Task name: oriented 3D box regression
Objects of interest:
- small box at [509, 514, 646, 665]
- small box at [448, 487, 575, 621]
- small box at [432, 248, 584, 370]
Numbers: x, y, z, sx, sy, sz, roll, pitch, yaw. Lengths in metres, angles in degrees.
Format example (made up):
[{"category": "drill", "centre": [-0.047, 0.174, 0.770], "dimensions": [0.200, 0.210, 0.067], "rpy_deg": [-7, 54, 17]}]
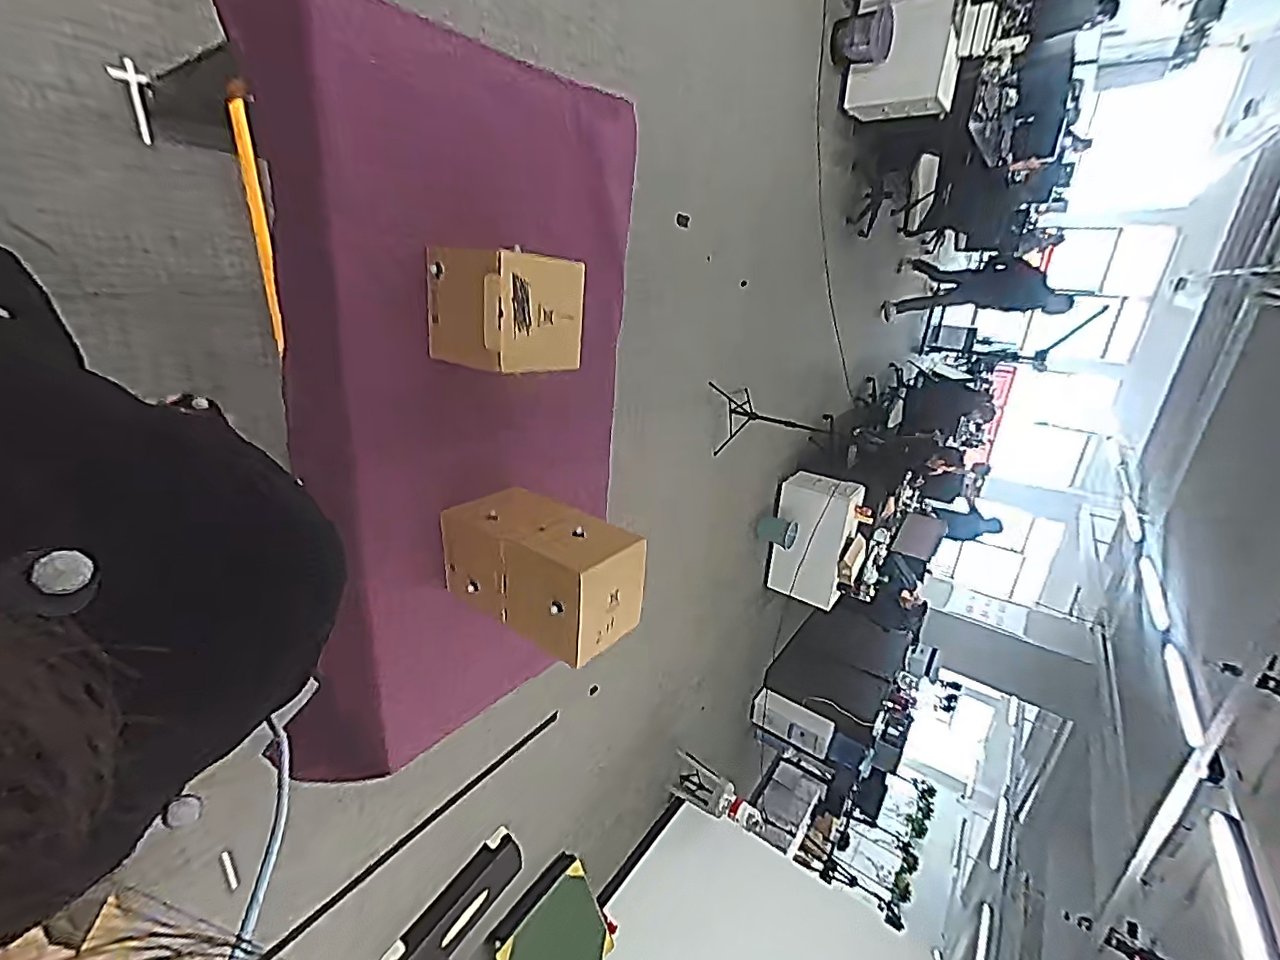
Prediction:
[{"category": "small box", "centre": [-0.108, 0.170, 0.918], "dimensions": [0.168, 0.176, 0.179], "rpy_deg": [-22, 123, -49]}, {"category": "small box", "centre": [-0.240, 0.127, 1.005], "dimensions": [0.179, 0.176, 0.168], "rpy_deg": [-24, 125, -50]}, {"category": "small box", "centre": [-0.212, -0.269, 0.858], "dimensions": [0.179, 0.176, 0.168], "rpy_deg": [-20, 121, -52]}]
